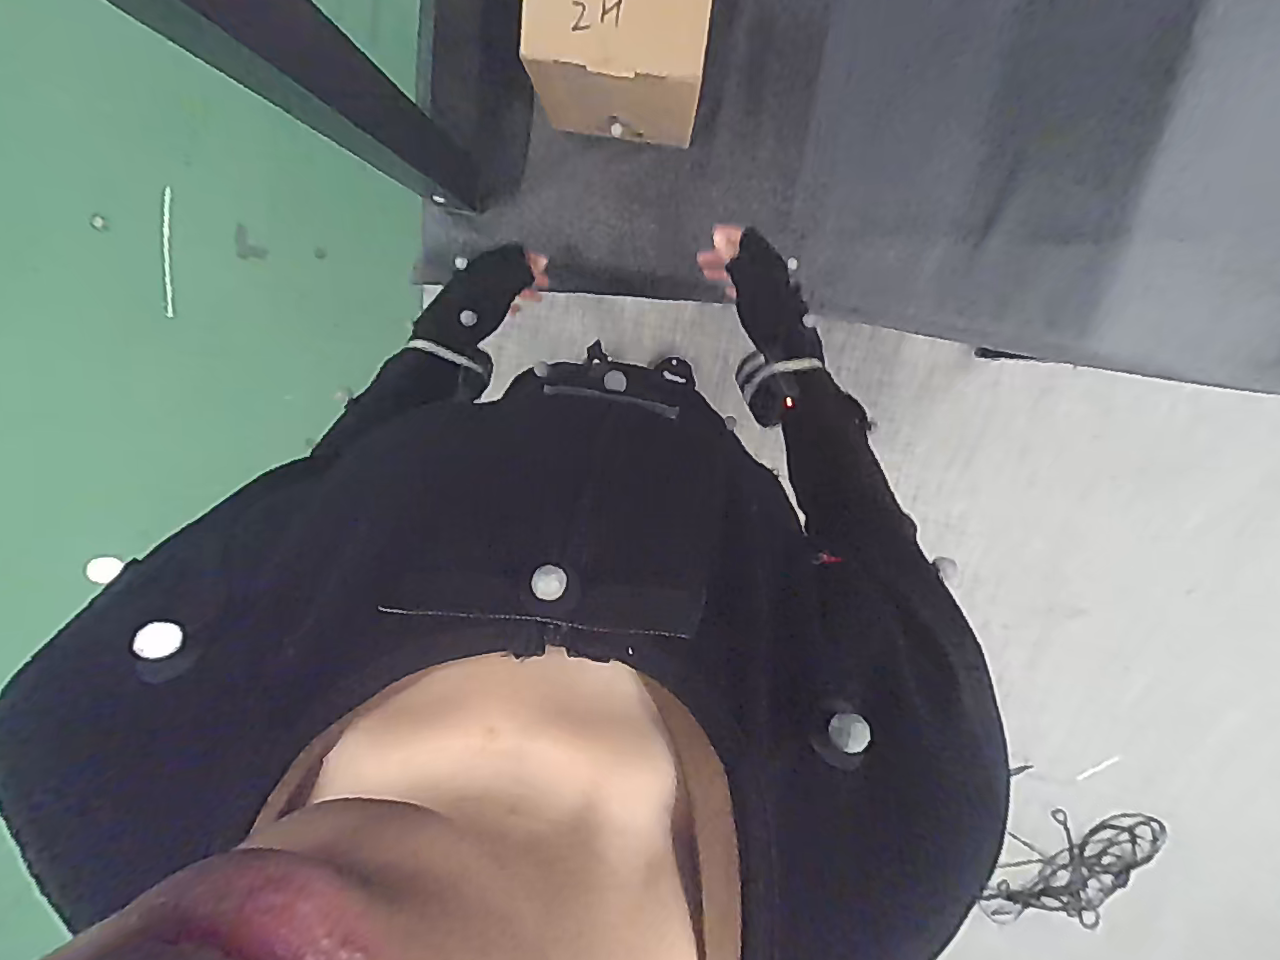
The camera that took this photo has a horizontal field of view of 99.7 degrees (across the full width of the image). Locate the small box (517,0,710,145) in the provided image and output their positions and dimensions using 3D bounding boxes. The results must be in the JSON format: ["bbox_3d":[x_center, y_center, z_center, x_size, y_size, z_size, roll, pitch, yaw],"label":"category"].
[{"bbox_3d":[-0.016,-0.469,0.537,0.168,0.176,0.179,8,104,0],"label":"small box"}]
